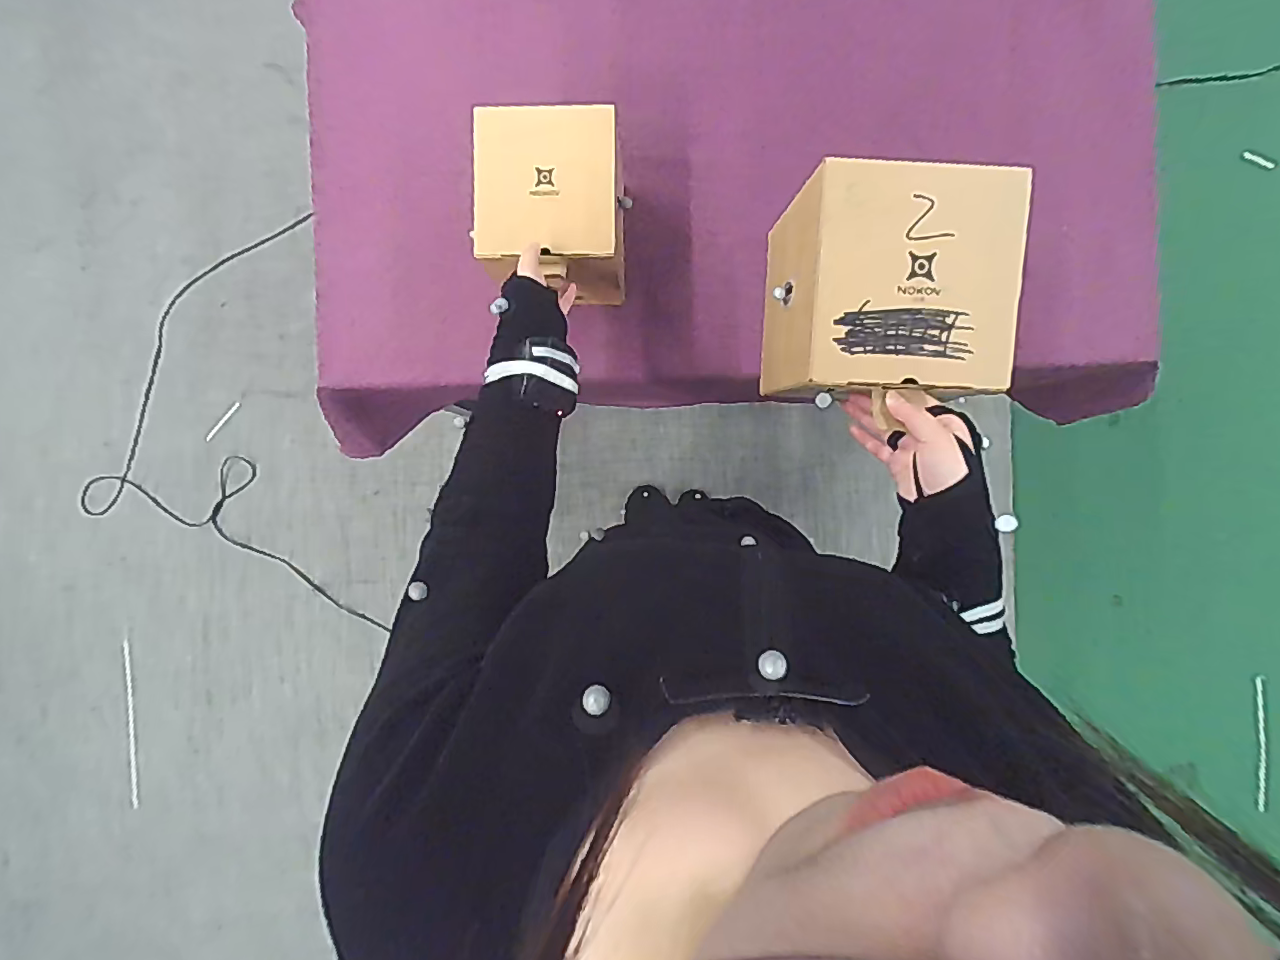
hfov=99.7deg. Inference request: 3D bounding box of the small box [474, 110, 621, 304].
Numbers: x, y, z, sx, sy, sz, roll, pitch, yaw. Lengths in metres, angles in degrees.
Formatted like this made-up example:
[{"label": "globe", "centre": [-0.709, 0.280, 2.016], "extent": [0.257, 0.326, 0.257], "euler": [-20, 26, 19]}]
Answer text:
[{"label": "small box", "centre": [-0.113, -0.349, 0.717], "extent": [0.168, 0.176, 0.179], "euler": [0, 90, 1]}]
